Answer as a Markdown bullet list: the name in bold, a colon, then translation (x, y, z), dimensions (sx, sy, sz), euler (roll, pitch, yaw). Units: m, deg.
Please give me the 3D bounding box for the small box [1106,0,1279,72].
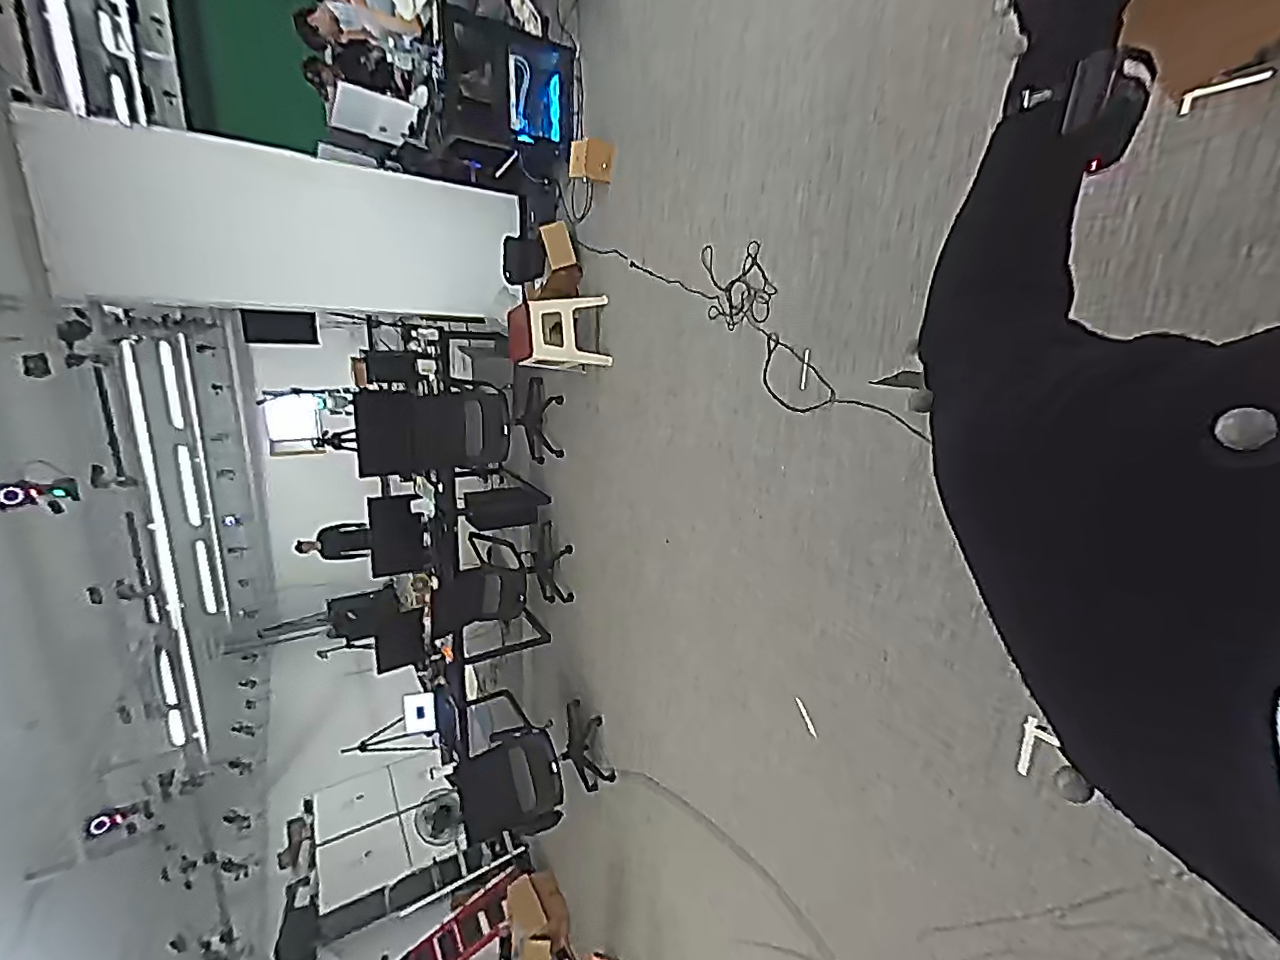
- **small box**: translation (0.451, -0.465, 0.398), dimensions (0.179, 0.176, 0.168), euler (-29, 62, 56)
